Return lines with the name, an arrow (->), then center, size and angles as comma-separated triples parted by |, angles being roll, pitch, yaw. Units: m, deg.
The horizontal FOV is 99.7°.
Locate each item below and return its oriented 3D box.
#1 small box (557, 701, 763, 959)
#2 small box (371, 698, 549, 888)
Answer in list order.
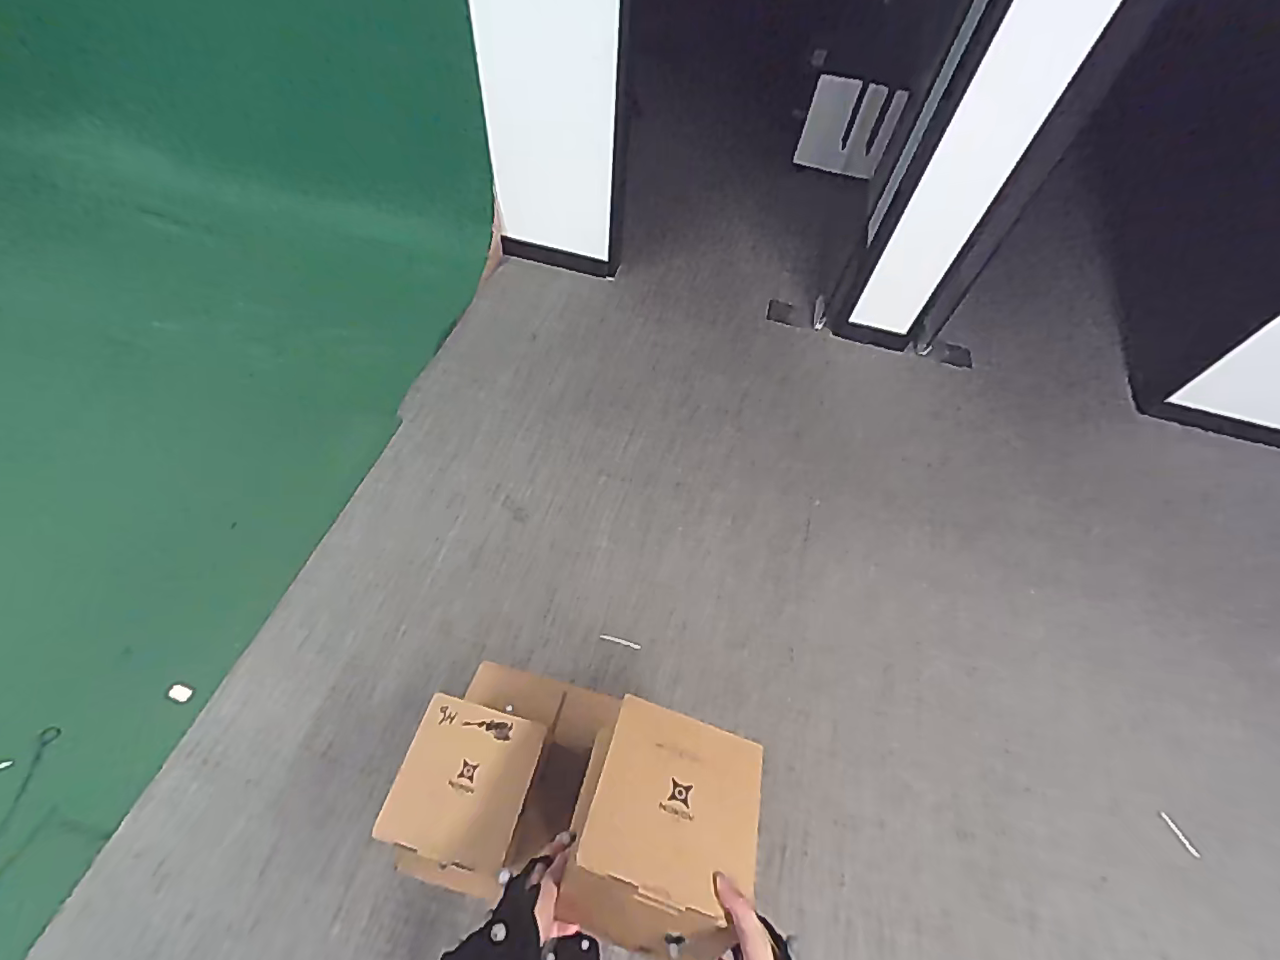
small box -> 0.020, 0.383, 0.580 | 0.168, 0.176, 0.179 | 20, 36, 4
small box -> -0.231, 0.430, 0.754 | 0.168, 0.176, 0.179 | 16, 58, 3
